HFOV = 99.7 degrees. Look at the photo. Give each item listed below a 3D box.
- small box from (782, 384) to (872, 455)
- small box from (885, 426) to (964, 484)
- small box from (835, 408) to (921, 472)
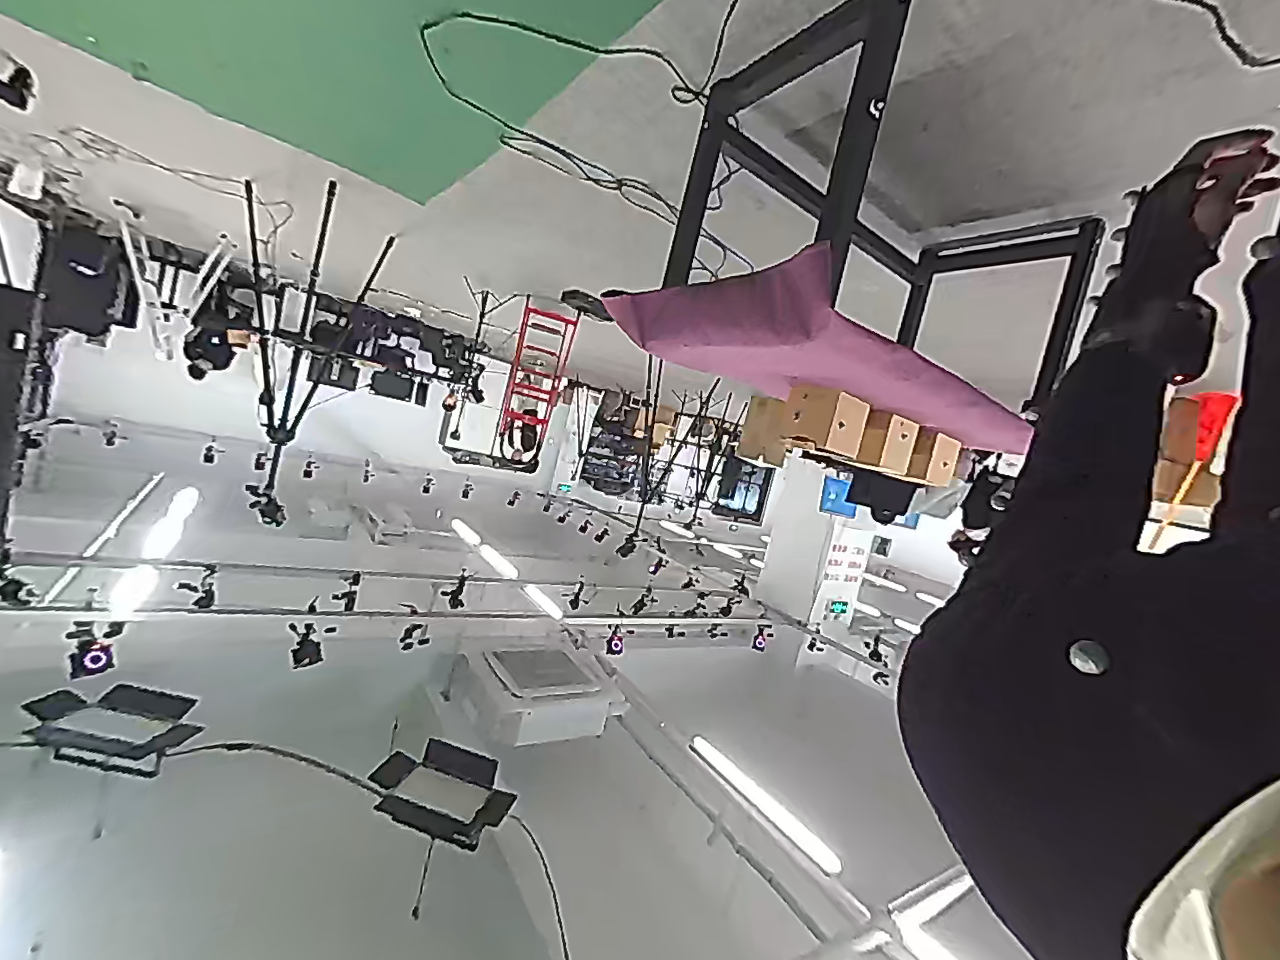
[{"bbox_3d":[0.546,-0.178,1.574,0.179,0.176,0.168,10,-175,-40],"label":"small box"},{"bbox_3d":[0.979,-0.092,1.860,0.179,0.176,0.168,10,-175,-36],"label":"small box"},{"bbox_3d":[0.763,-0.135,1.729,0.168,0.176,0.179,10,-176,-36],"label":"small box"}]
